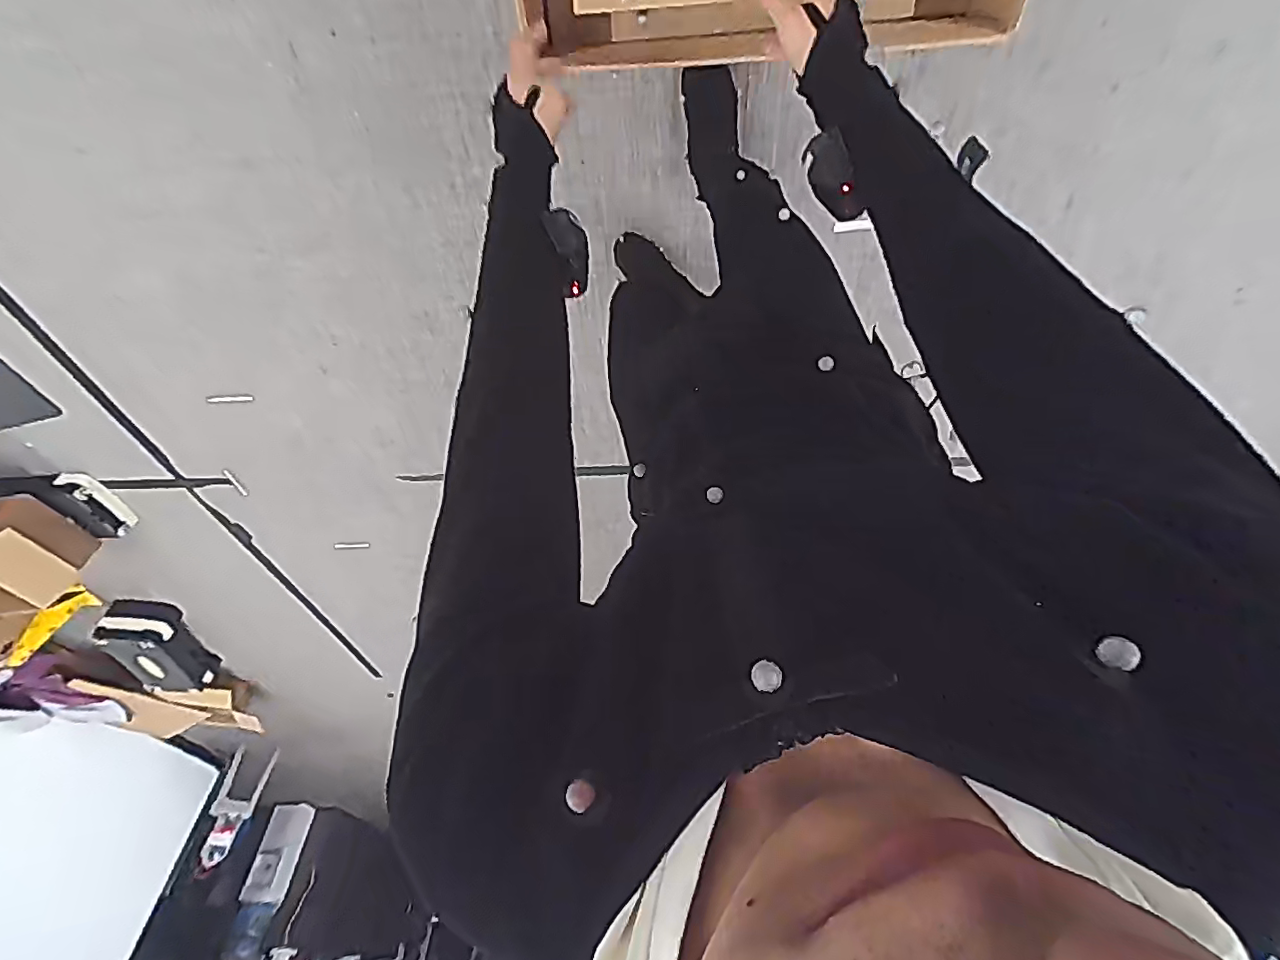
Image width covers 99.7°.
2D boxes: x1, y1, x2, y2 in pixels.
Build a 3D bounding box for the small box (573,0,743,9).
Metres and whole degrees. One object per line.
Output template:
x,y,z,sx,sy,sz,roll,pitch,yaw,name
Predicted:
0.015,-0.564,0.506,0.168,0.176,0.179,-1,134,3,small box
